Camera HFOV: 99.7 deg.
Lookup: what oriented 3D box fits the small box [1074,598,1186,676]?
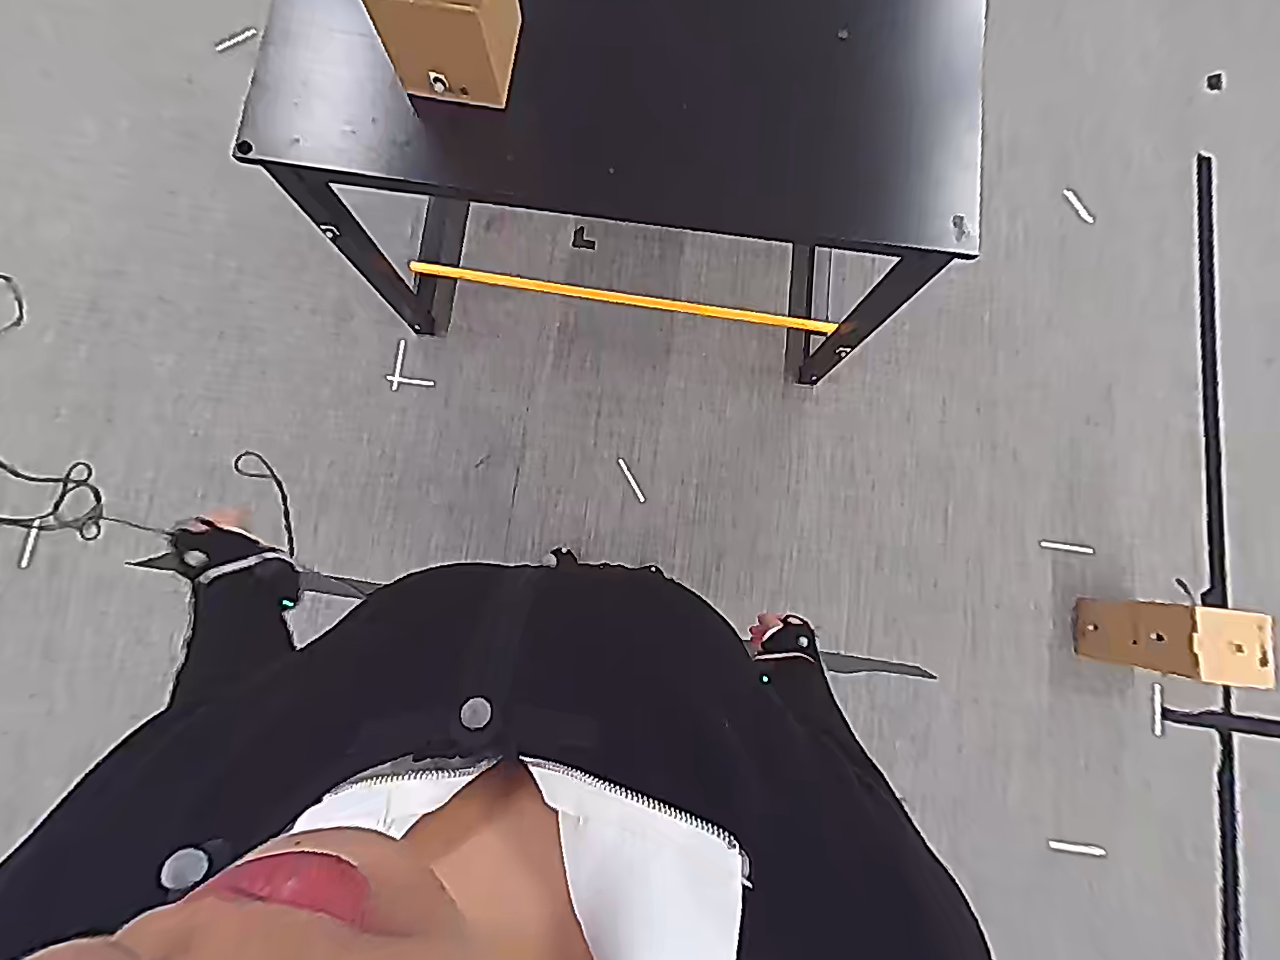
[{"bbox_3d":[1.320,0.413,1.448,0.179,0.176,0.168,9,81,0],"label":"small box"}]

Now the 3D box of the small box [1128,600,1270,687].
[{"bbox_3d":[1.315,0.382,1.287,0.179,0.176,0.168,7,81,0],"label":"small box"}]

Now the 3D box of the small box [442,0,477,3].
[{"bbox_3d":[-0.280,-0.736,0.658,0.179,0.176,0.168,6,81,-1],"label":"small box"}]

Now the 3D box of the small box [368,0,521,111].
[{"bbox_3d":[-0.285,-0.713,0.821,0.168,0.176,0.179,7,82,0],"label":"small box"}]
